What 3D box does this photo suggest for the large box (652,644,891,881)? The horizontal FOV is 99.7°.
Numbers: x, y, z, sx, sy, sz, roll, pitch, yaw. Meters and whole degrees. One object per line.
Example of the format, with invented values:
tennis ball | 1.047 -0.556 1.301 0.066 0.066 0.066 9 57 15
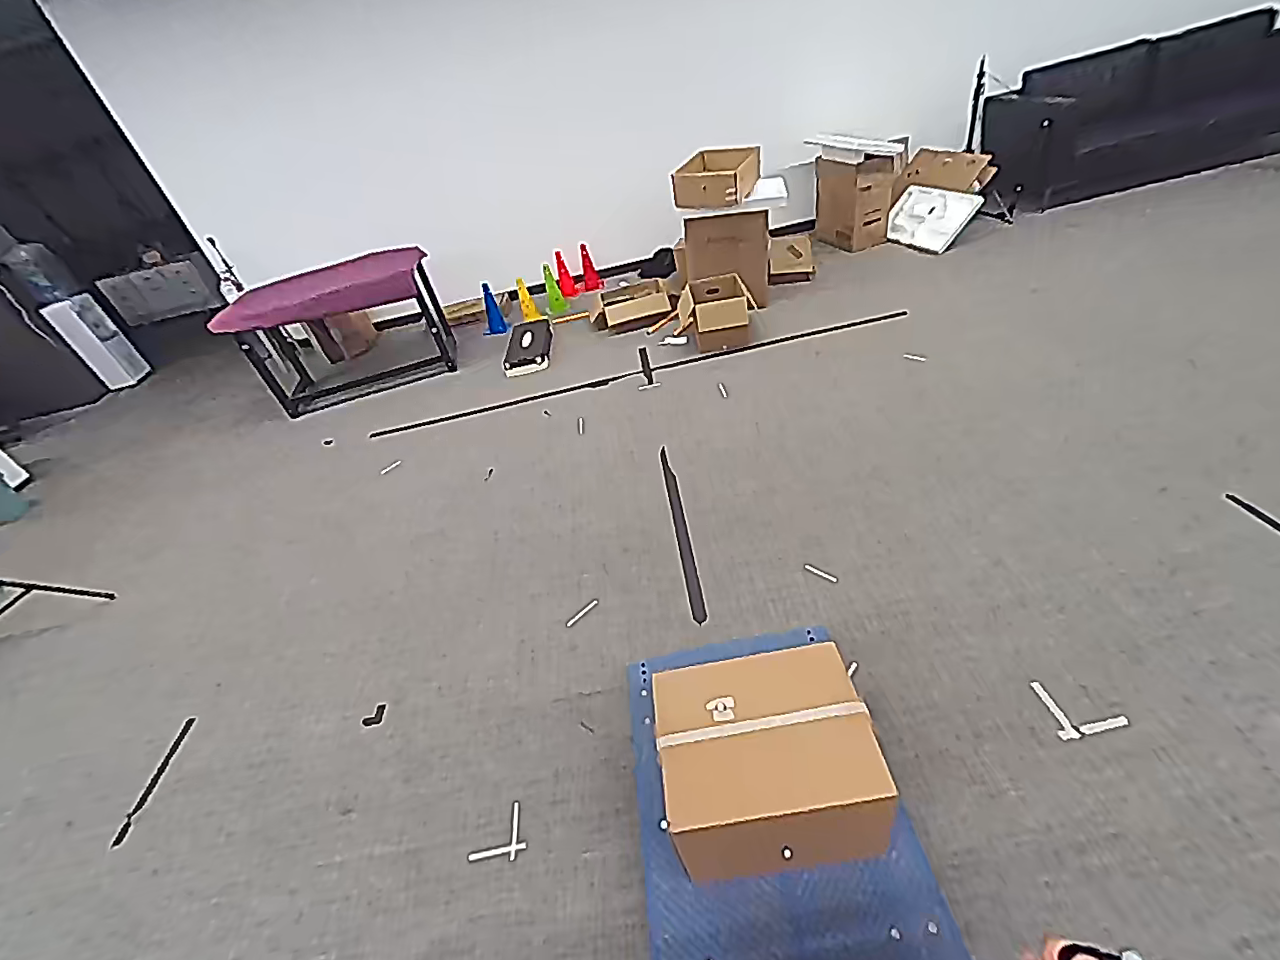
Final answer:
large box | 0.264 0.604 1.158 0.408 0.320 0.320 -13 37 4
